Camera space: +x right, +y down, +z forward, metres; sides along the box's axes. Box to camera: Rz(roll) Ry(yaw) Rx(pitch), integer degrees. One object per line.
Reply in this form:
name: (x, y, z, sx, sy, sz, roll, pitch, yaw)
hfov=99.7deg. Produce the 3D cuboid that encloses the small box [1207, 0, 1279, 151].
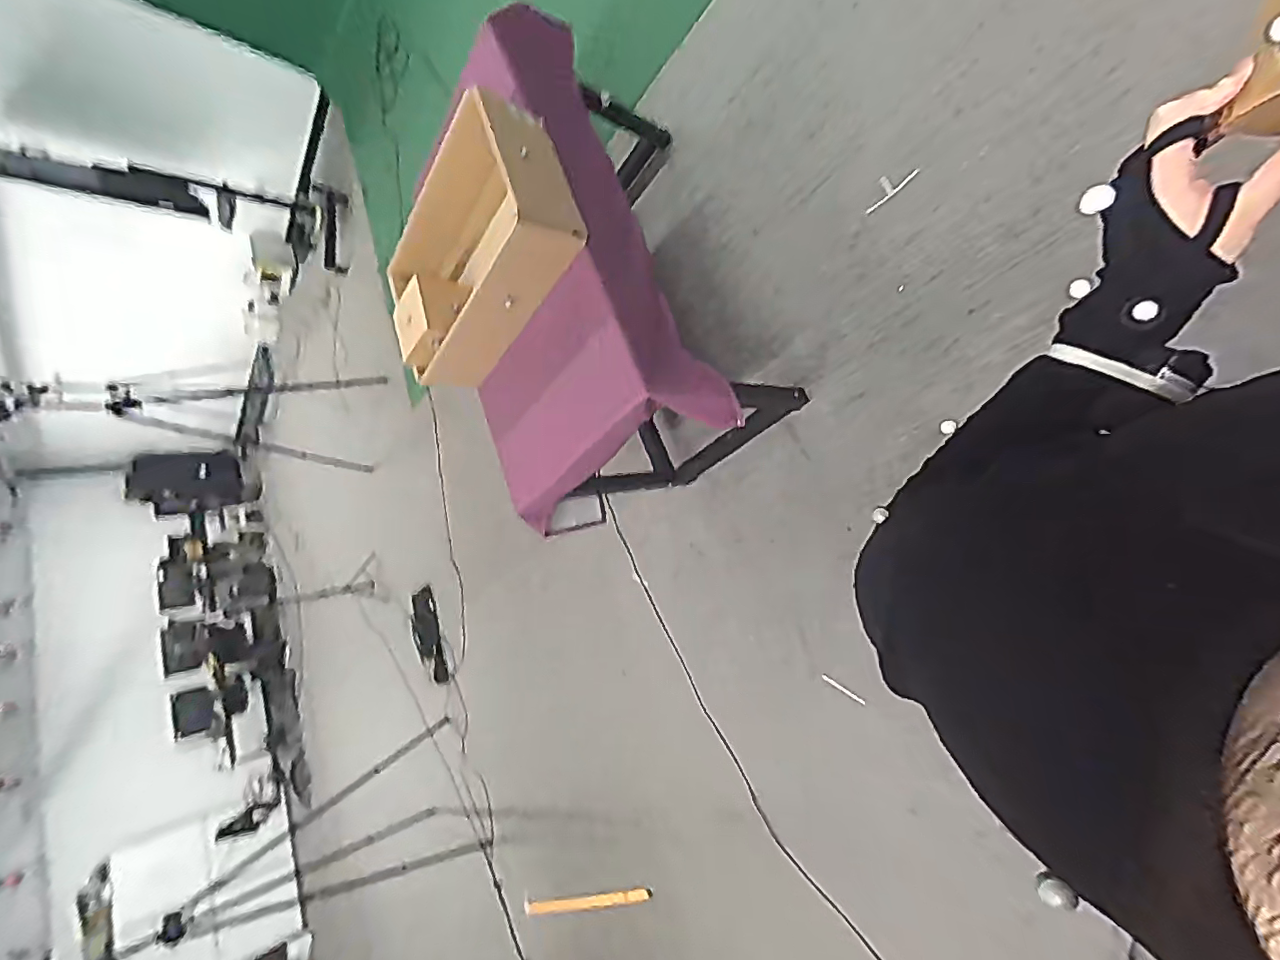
small box: (0.413, -0.252, 0.214, 0.168, 0.179, 0.176, 13, 102, 9)
